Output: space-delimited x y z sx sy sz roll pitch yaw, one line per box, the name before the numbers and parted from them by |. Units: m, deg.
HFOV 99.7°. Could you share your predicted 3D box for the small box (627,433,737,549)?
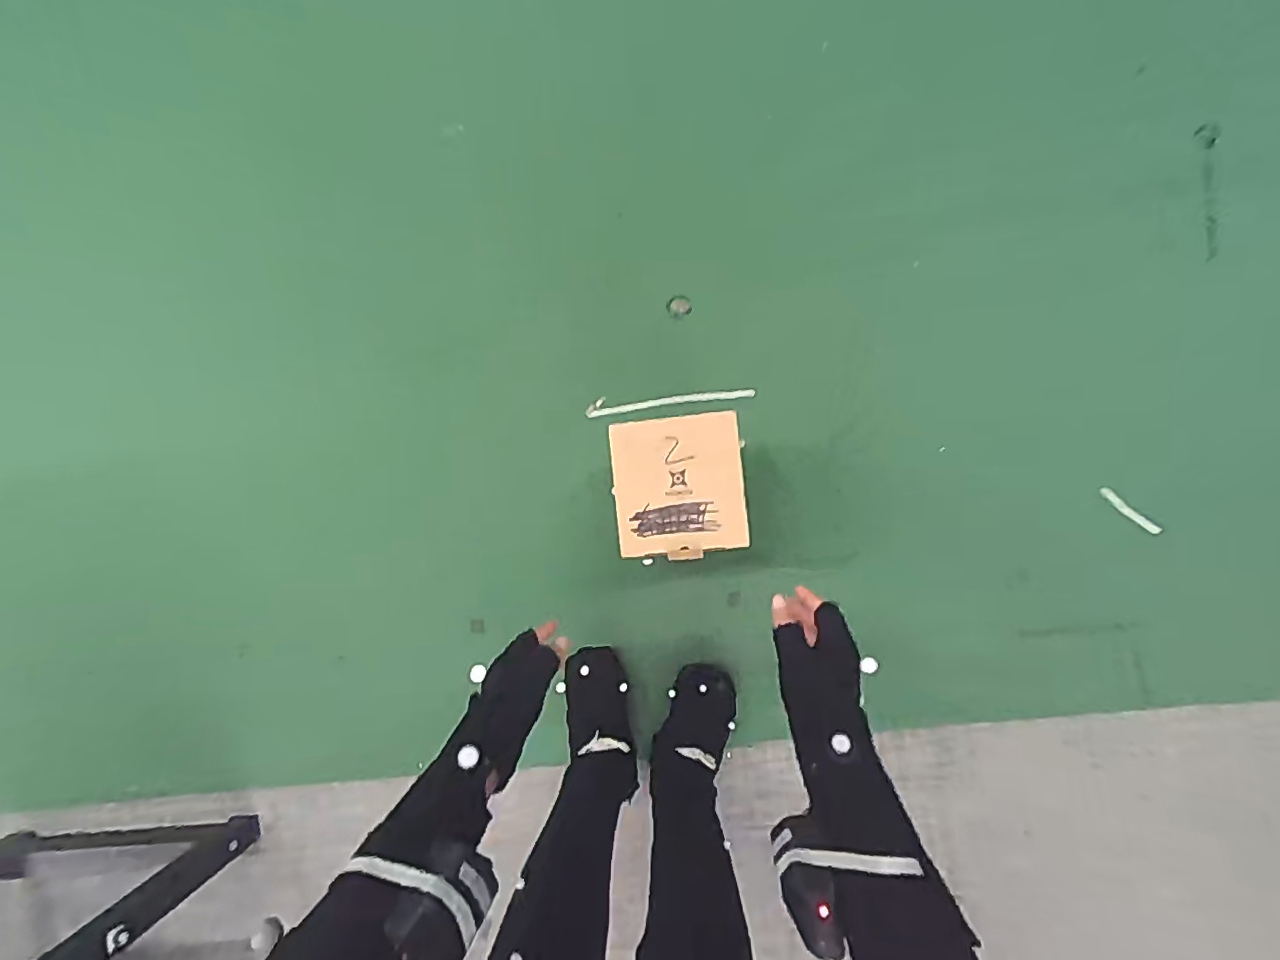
small box | 0.072 0.019 0.931 0.168 0.176 0.179 -5 89 6
